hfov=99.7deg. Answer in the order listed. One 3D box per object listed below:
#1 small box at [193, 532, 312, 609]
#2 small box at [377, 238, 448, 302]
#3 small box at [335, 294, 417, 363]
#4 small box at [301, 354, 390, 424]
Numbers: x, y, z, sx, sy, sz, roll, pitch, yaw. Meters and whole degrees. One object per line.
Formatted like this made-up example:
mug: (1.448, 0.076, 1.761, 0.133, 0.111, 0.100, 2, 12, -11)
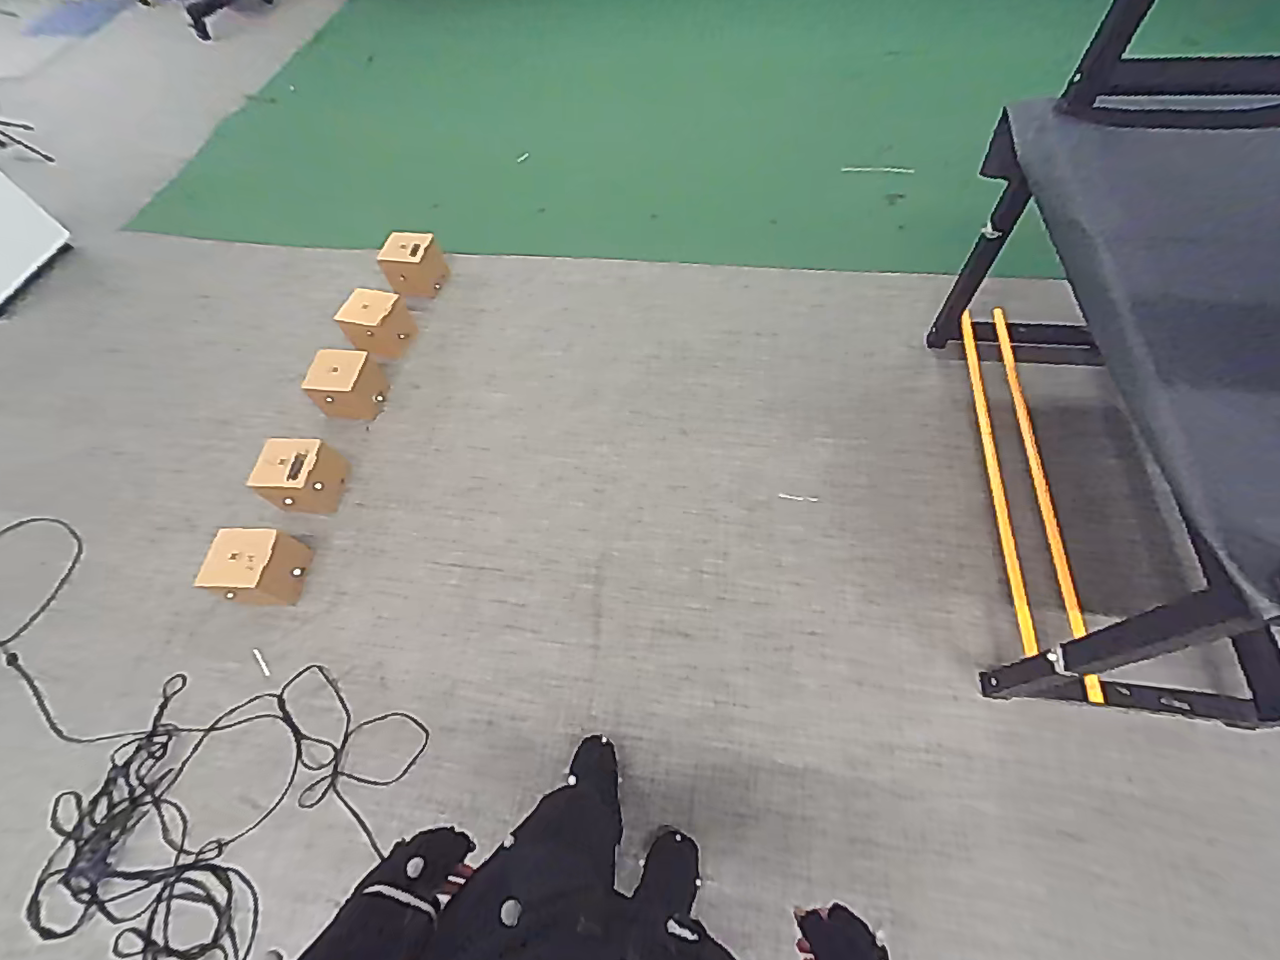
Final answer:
small box: (-1.063, 0.255, 1.498, 0.179, 0.176, 0.168, 1, 61, 4)
small box: (-0.881, -0.818, 2.115, 0.179, 0.176, 0.168, 7, 60, 9)
small box: (-0.950, -0.547, 1.961, 0.179, 0.176, 0.168, 12, 61, 10)
small box: (-0.983, -0.301, 1.819, 0.179, 0.176, 0.168, 4, 62, 5)
